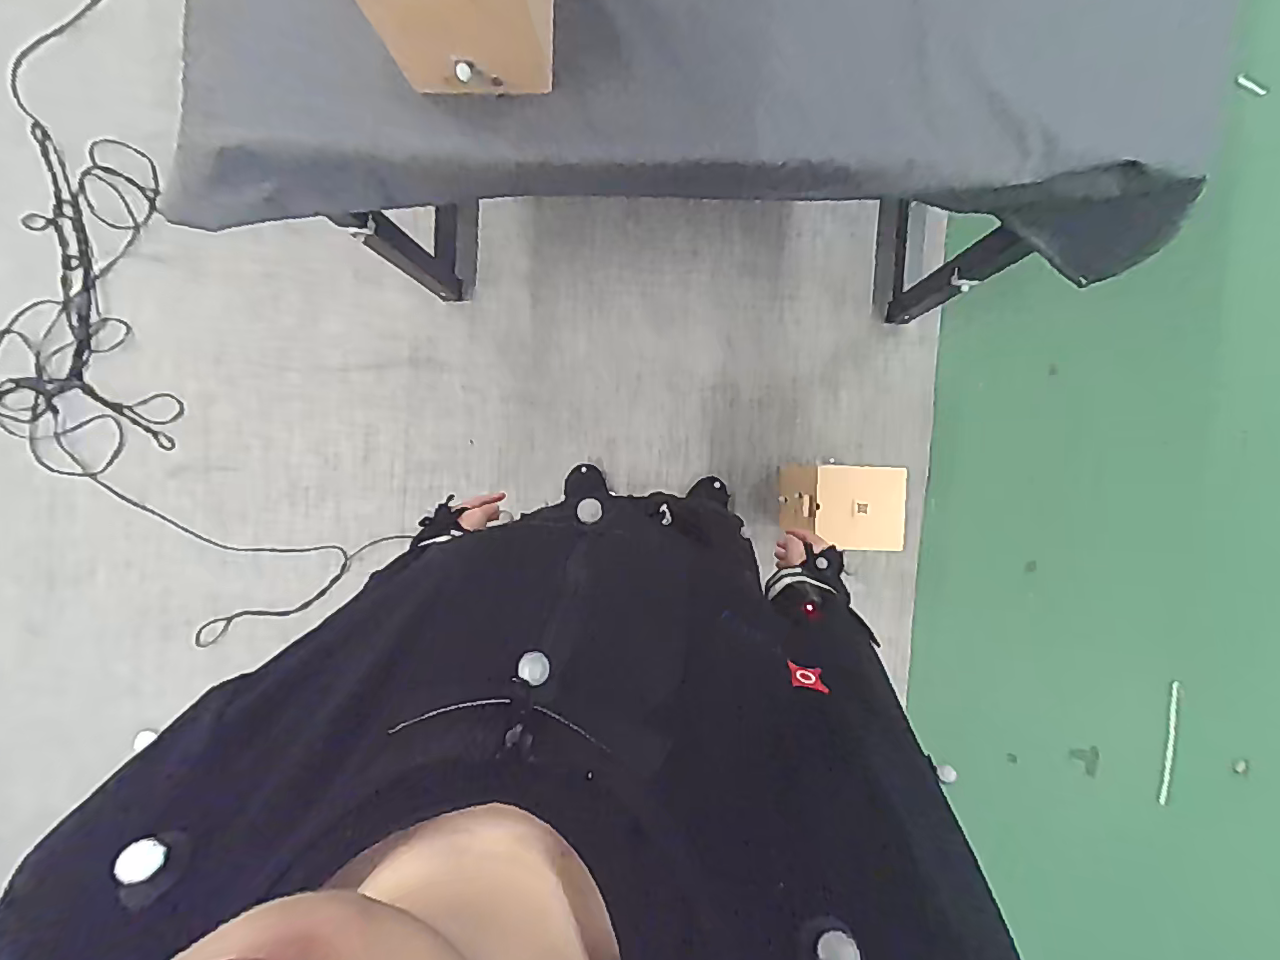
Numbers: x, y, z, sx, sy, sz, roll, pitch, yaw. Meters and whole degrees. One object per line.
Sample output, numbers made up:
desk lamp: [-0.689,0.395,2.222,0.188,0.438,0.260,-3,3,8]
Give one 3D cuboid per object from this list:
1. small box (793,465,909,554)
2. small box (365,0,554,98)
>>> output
small box: [0.429,0.054,1.119,0.179,0.176,0.168,1,92,2]
small box: [-0.186,-0.537,0.554,0.168,0.176,0.179,1,93,2]
